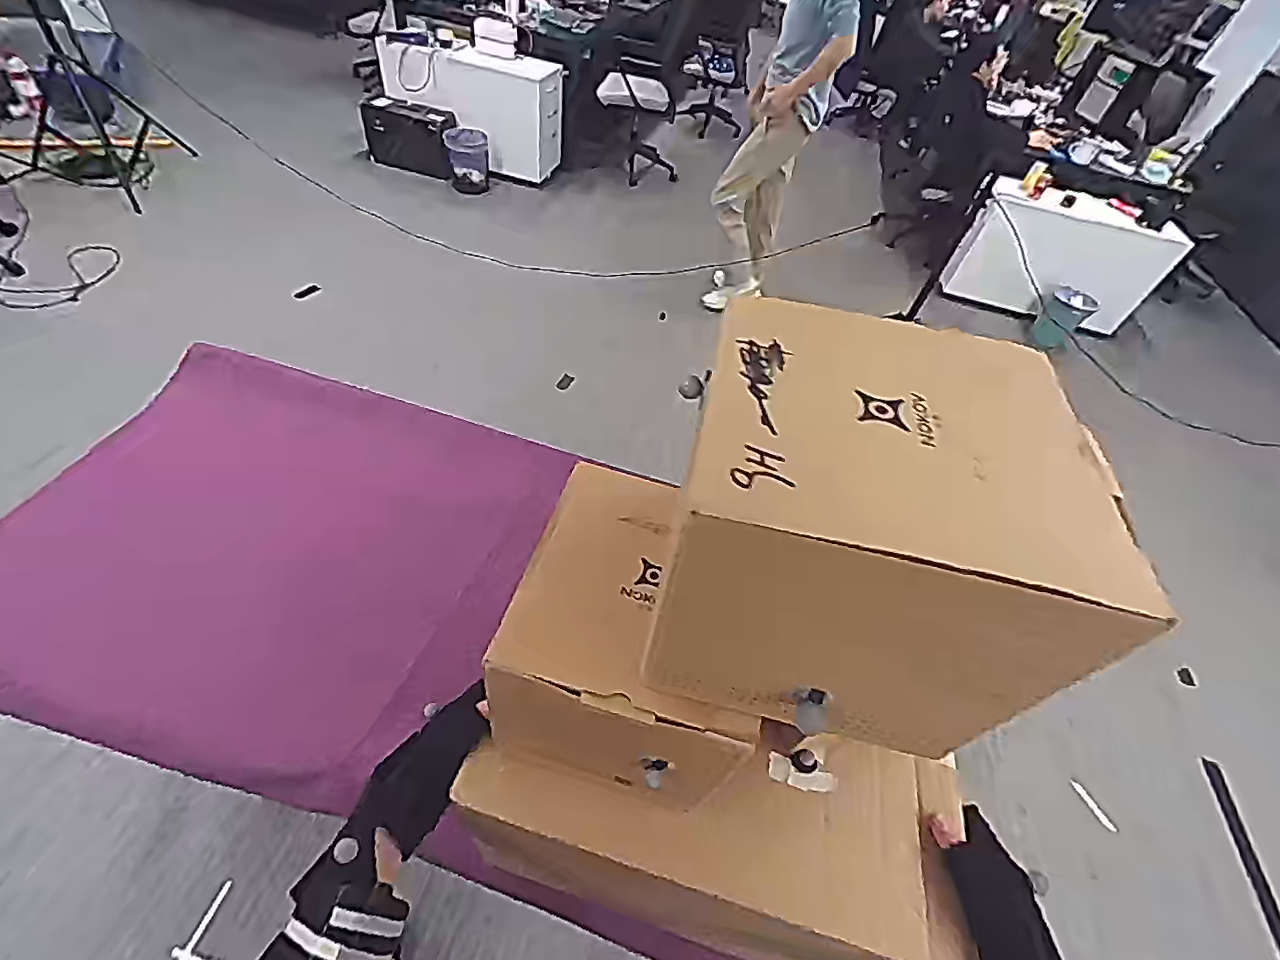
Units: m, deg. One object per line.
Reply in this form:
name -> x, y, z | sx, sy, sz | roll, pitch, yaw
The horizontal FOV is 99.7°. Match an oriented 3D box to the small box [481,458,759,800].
small box -> -0.005, 0.117, 0.417 | 0.168, 0.176, 0.179 | 16, 46, 3

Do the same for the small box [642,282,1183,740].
small box -> 0.108, 0.022, 0.299 | 0.179, 0.176, 0.168 | 13, 47, 4

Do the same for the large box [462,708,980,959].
large box -> 0.066, 0.290, 0.604 | 0.408, 0.320, 0.320 | 16, 48, 4
